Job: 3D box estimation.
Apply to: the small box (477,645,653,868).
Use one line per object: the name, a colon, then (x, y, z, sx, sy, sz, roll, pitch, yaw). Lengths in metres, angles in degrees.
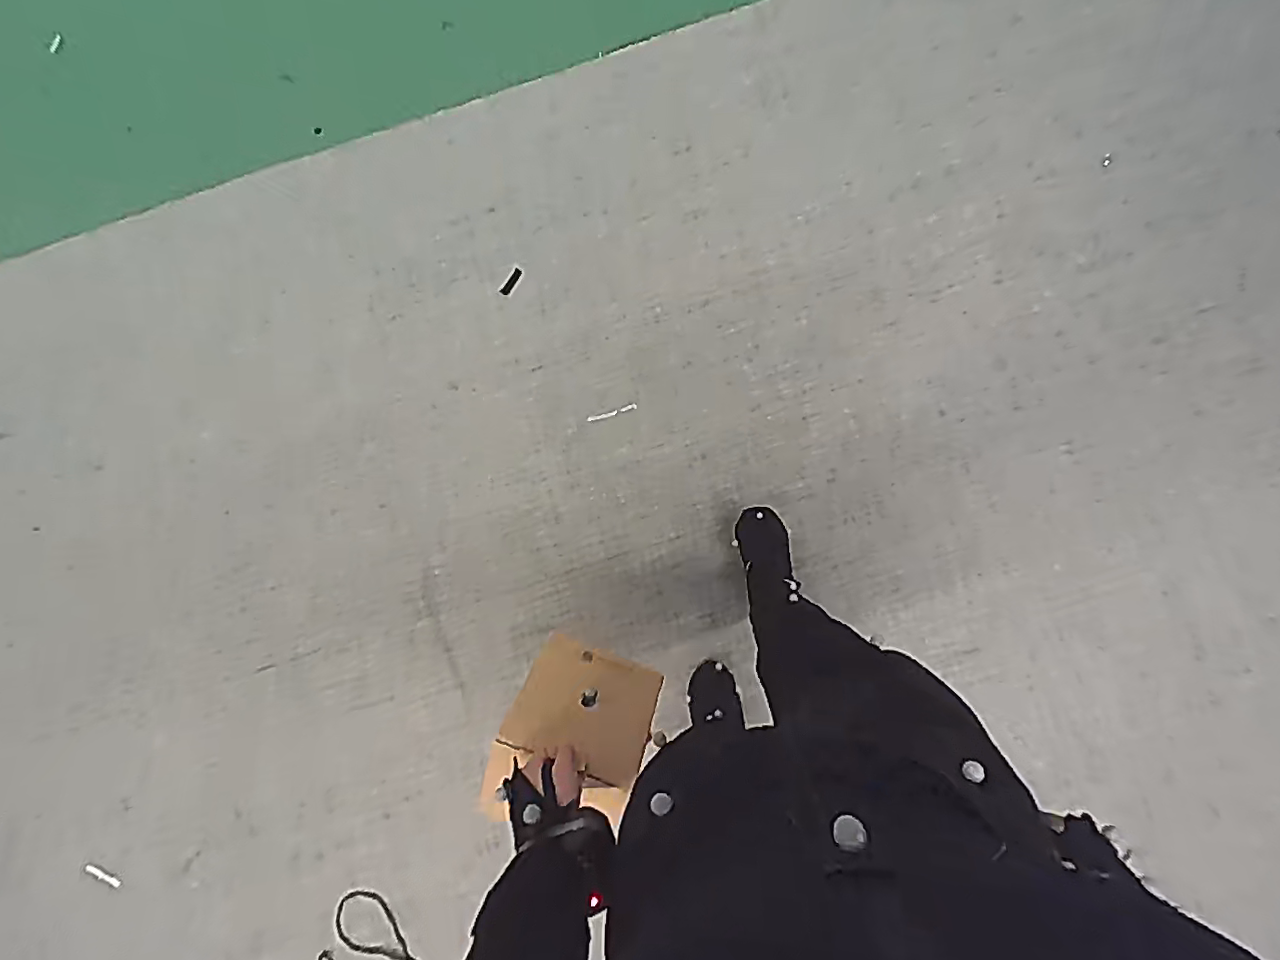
small box: (-0.090, 0.348, 0.703, 0.168, 0.176, 0.179, 20, 120, 3)
